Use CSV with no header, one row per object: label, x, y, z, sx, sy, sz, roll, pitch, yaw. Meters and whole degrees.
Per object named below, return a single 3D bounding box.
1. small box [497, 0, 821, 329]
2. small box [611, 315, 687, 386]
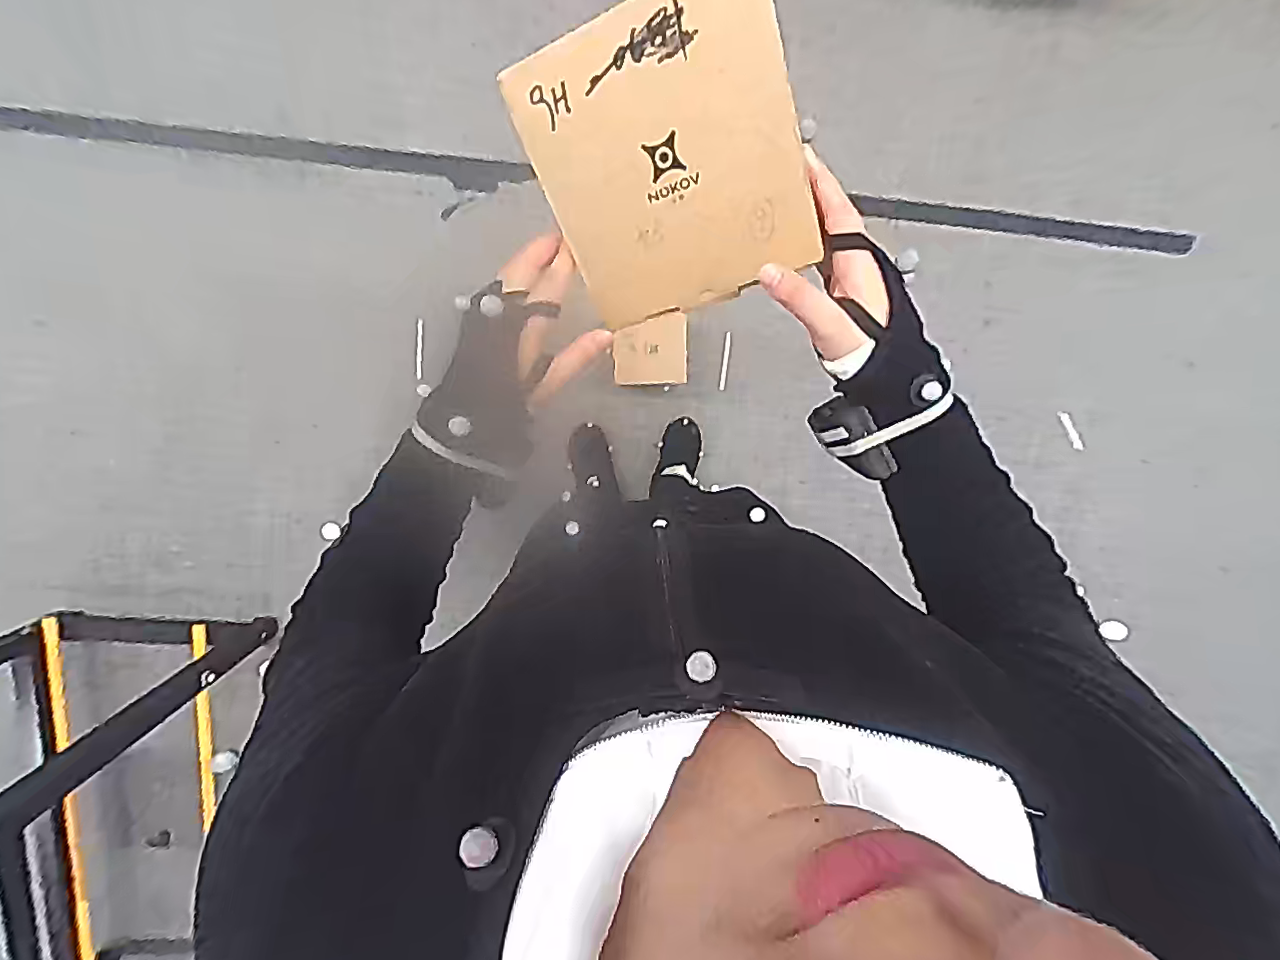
small box,0.032,-0.245,0.401,0.168,0.176,0.179,-12,126,21
small box,0.018,-0.322,1.354,0.179,0.176,0.168,-2,100,-3
